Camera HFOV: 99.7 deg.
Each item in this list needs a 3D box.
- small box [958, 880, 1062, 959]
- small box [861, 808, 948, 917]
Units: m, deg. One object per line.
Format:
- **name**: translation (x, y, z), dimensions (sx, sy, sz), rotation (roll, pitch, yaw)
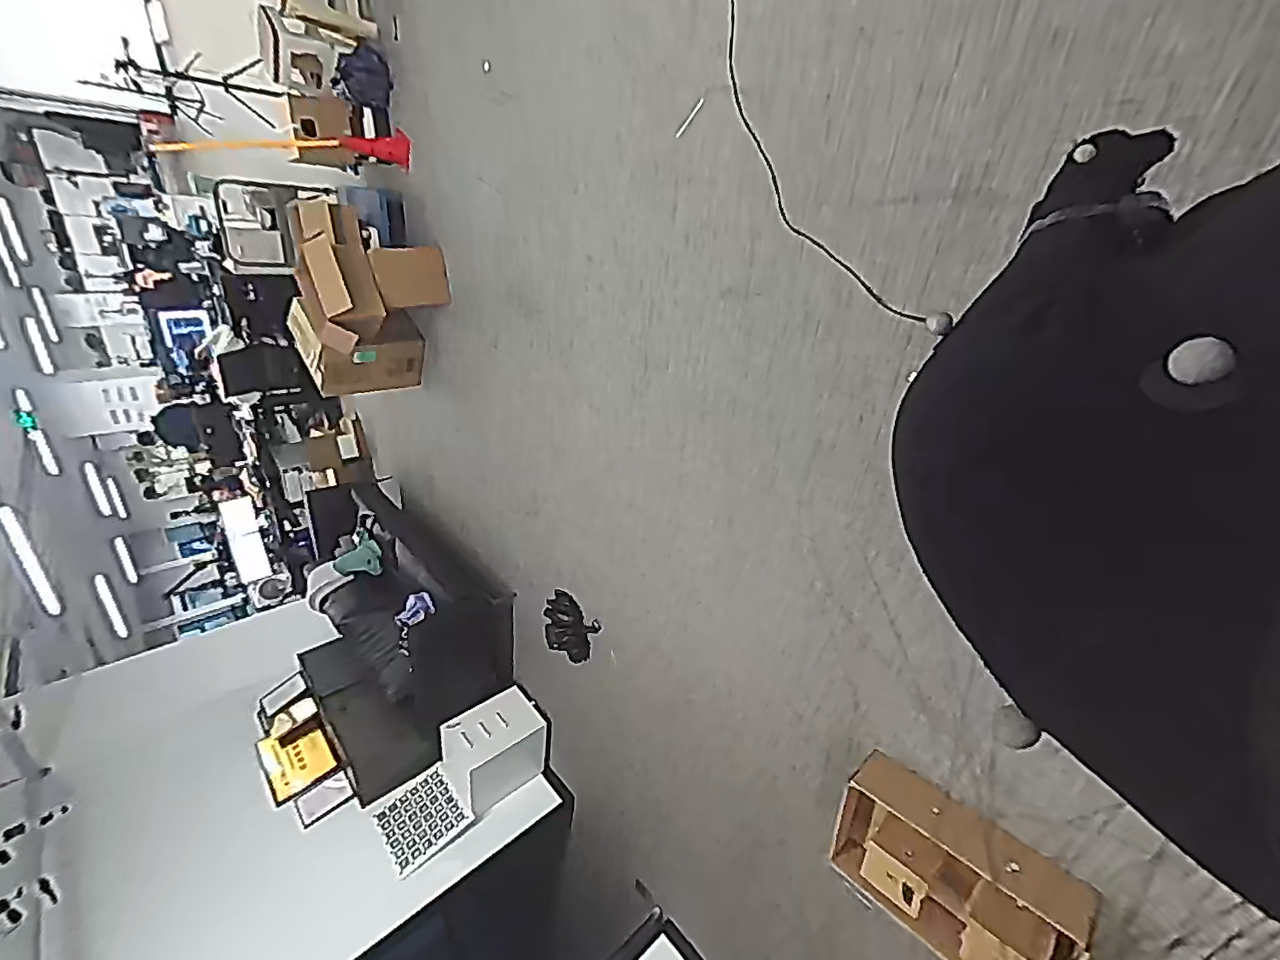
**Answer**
- **small box**: translation (1.006, 1.245, 1.472), dimensions (0.179, 0.176, 0.168), rotation (21, 120, 45)
- **small box**: translation (0.814, 1.164, 1.661), dimensions (0.179, 0.176, 0.168), rotation (25, 122, 40)
